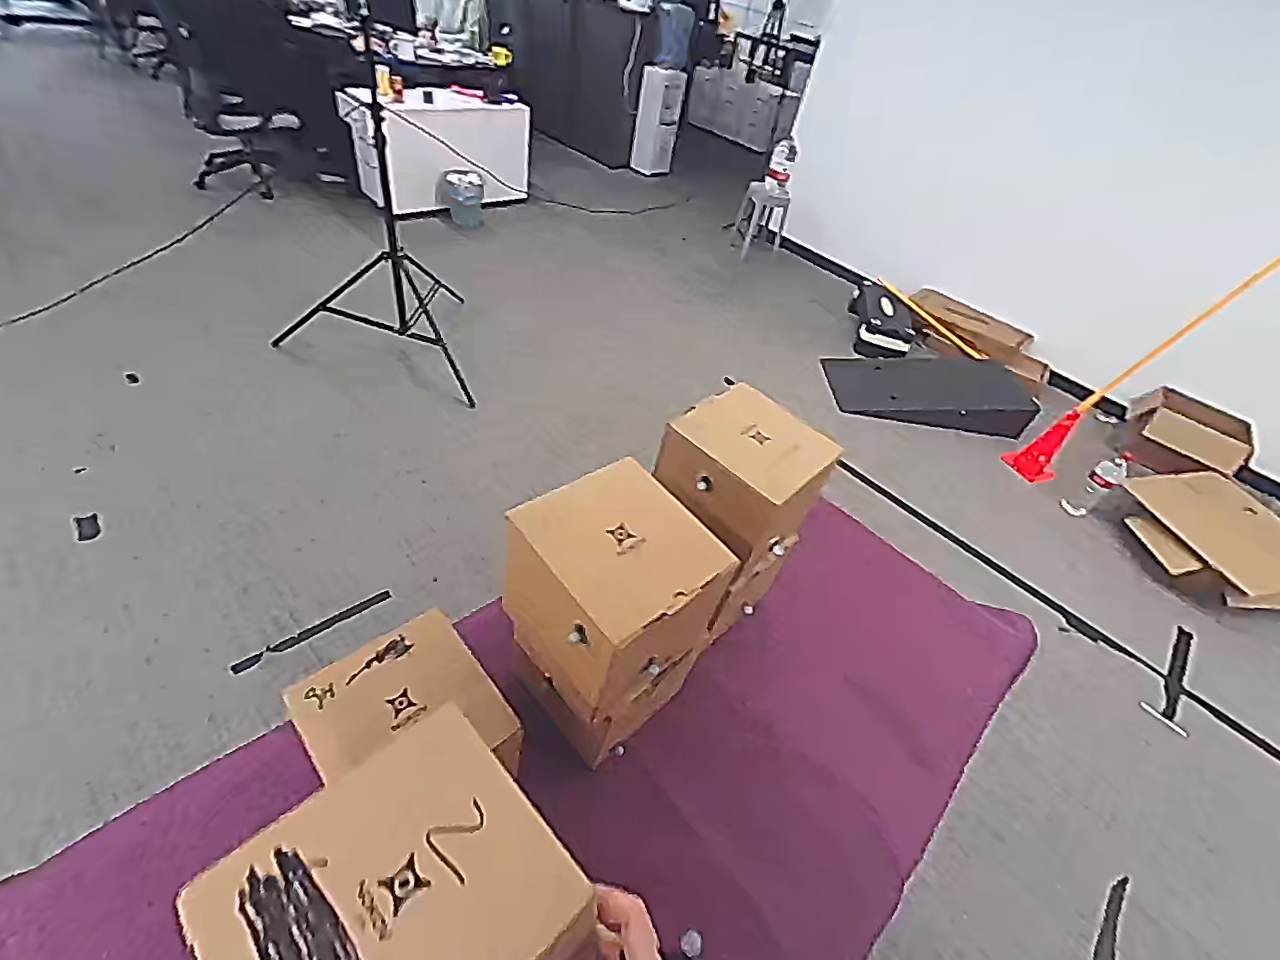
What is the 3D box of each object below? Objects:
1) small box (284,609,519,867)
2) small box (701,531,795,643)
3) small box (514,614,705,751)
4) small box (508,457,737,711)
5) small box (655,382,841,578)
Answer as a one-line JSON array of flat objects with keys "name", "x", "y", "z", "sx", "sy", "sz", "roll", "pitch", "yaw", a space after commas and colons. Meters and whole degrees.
[{"name": "small box", "x": -0.248, "y": 0.283, "z": 0.591, "sx": 0.168, "sy": 0.176, "sz": 0.179, "roll": -27, "pitch": 59, "yaw": -35}, {"name": "small box", "x": 0.103, "y": 0.118, "z": 0.850, "sx": 0.168, "sy": 0.176, "sz": 0.179, "roll": -30, "pitch": 59, "yaw": -35}, {"name": "small box", "x": -0.047, "y": 0.222, "z": 0.707, "sx": 0.168, "sy": 0.176, "sz": 0.179, "roll": -29, "pitch": 58, "yaw": -36}, {"name": "small box", "x": -0.032, "y": 0.111, "z": 0.588, "sx": 0.168, "sy": 0.176, "sz": 0.179, "roll": -27, "pitch": 58, "yaw": -35}, {"name": "small box", "x": 0.132, "y": 0.000, "z": 0.742, "sx": 0.179, "sy": 0.176, "sz": 0.168, "roll": 40, "pitch": 50, "yaw": 23}]
